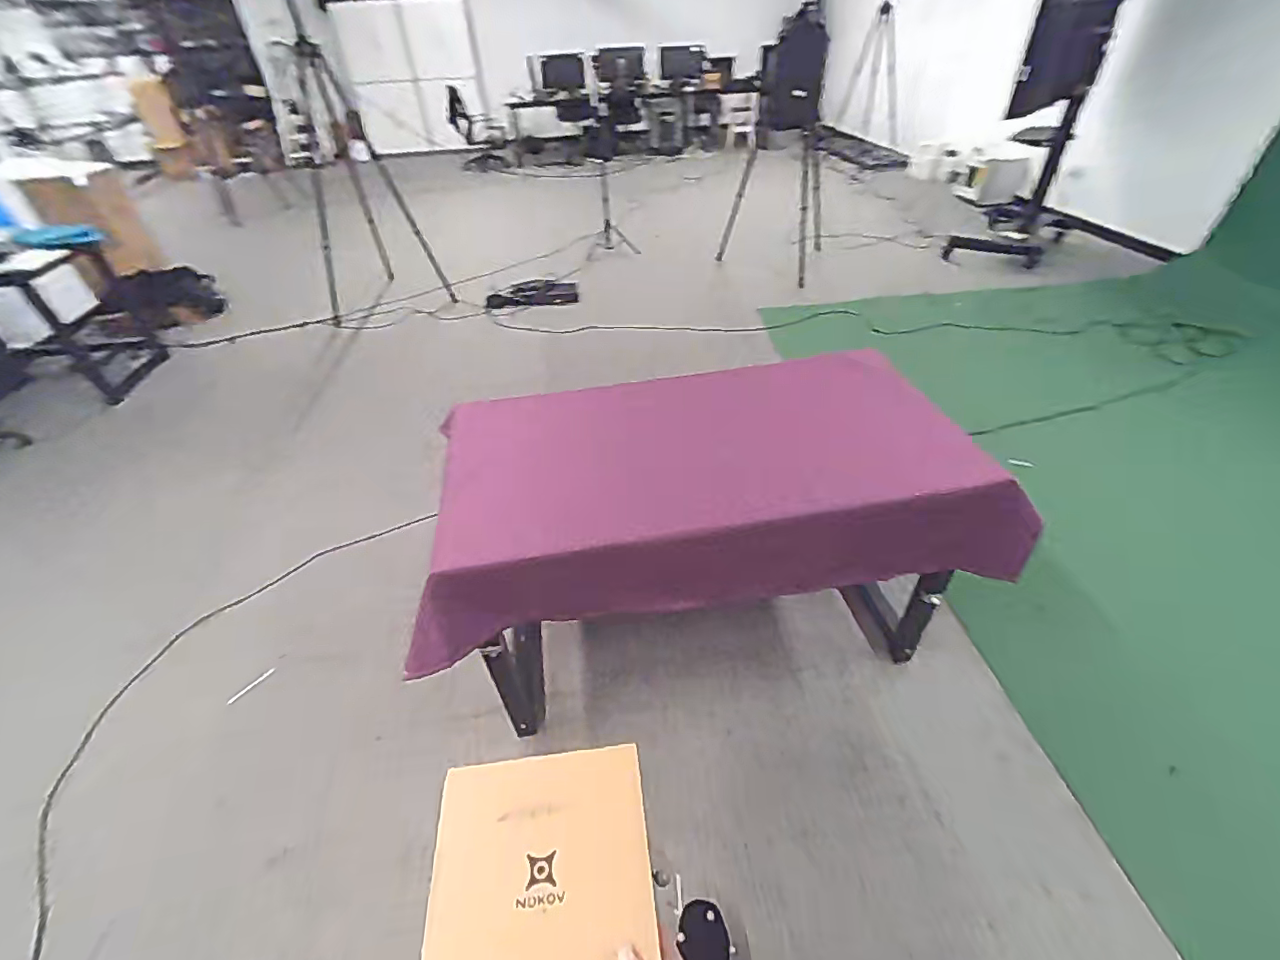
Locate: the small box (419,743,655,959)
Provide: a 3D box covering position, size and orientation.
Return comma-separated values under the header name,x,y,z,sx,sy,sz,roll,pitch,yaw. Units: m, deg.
name,x,y,z,sx,sy,sz,roll,pitch,yaw
small box,-0.075,0.355,0.464,0.168,0.176,0.179,-5,43,-5
